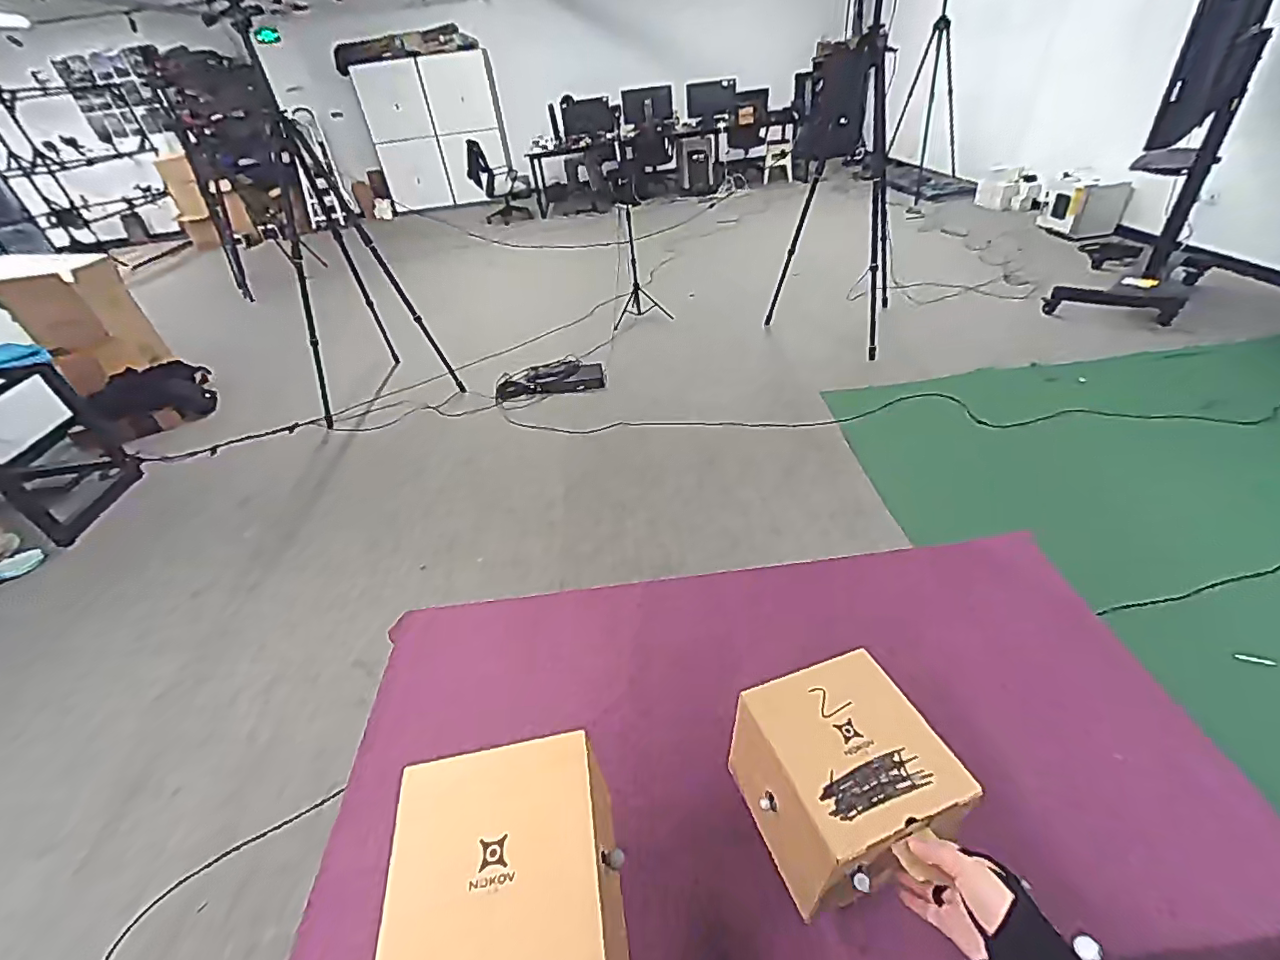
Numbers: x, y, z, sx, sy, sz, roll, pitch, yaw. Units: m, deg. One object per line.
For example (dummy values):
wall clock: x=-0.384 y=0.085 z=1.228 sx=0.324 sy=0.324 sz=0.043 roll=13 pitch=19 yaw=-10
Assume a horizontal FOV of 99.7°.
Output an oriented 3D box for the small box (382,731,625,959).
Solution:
small box: x=-0.110 y=0.363 z=0.493 sx=0.168 sy=0.176 sz=0.179 roll=-10 pitch=43 yaw=-3
